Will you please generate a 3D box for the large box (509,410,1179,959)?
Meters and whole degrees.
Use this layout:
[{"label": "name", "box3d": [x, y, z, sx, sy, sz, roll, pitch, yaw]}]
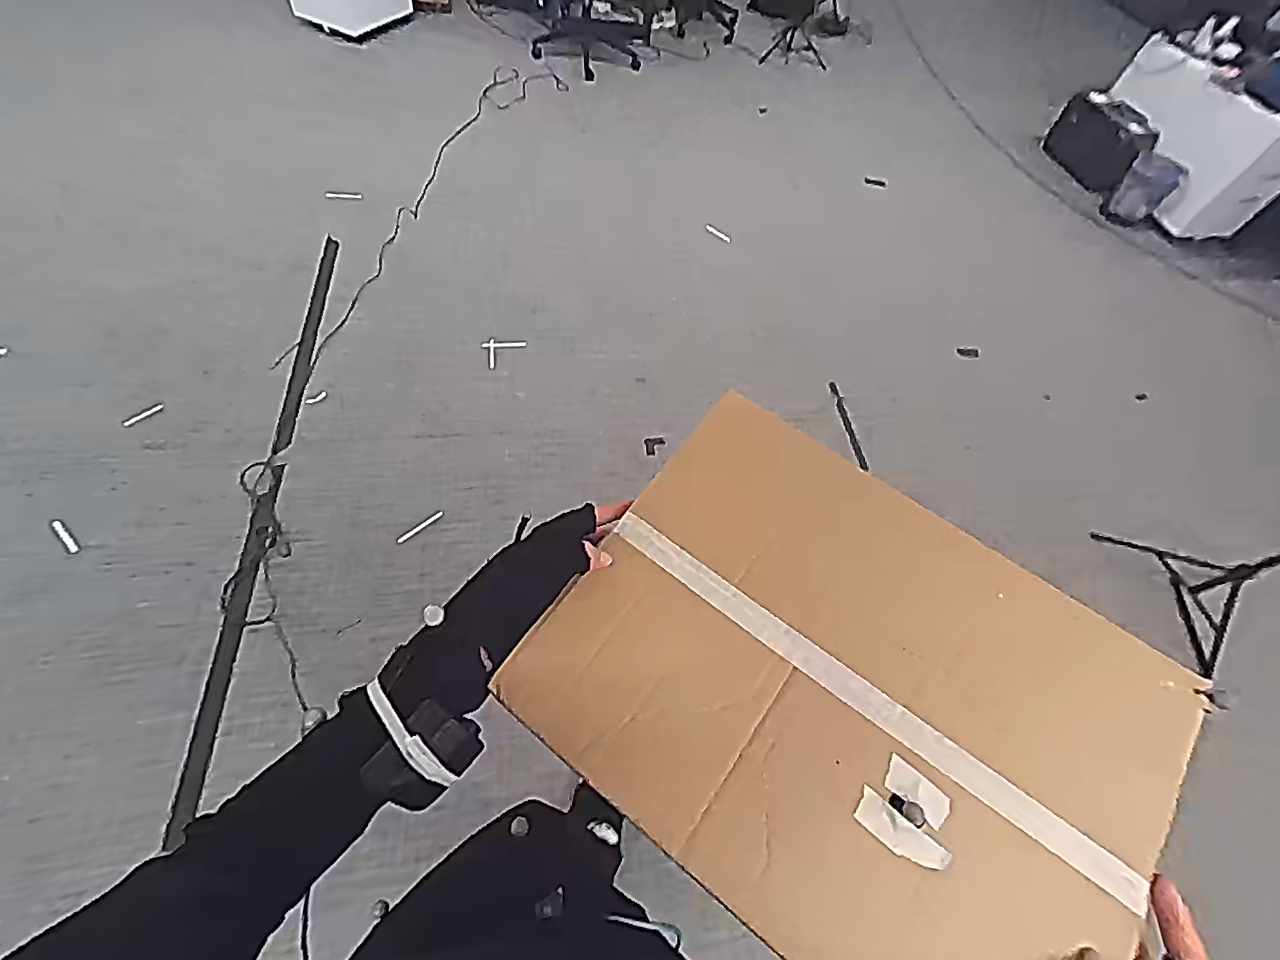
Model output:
[{"label": "large box", "box3d": [0.148, 0.211, 0.531, 0.408, 0.320, 0.320, 35, 71, 15]}]
